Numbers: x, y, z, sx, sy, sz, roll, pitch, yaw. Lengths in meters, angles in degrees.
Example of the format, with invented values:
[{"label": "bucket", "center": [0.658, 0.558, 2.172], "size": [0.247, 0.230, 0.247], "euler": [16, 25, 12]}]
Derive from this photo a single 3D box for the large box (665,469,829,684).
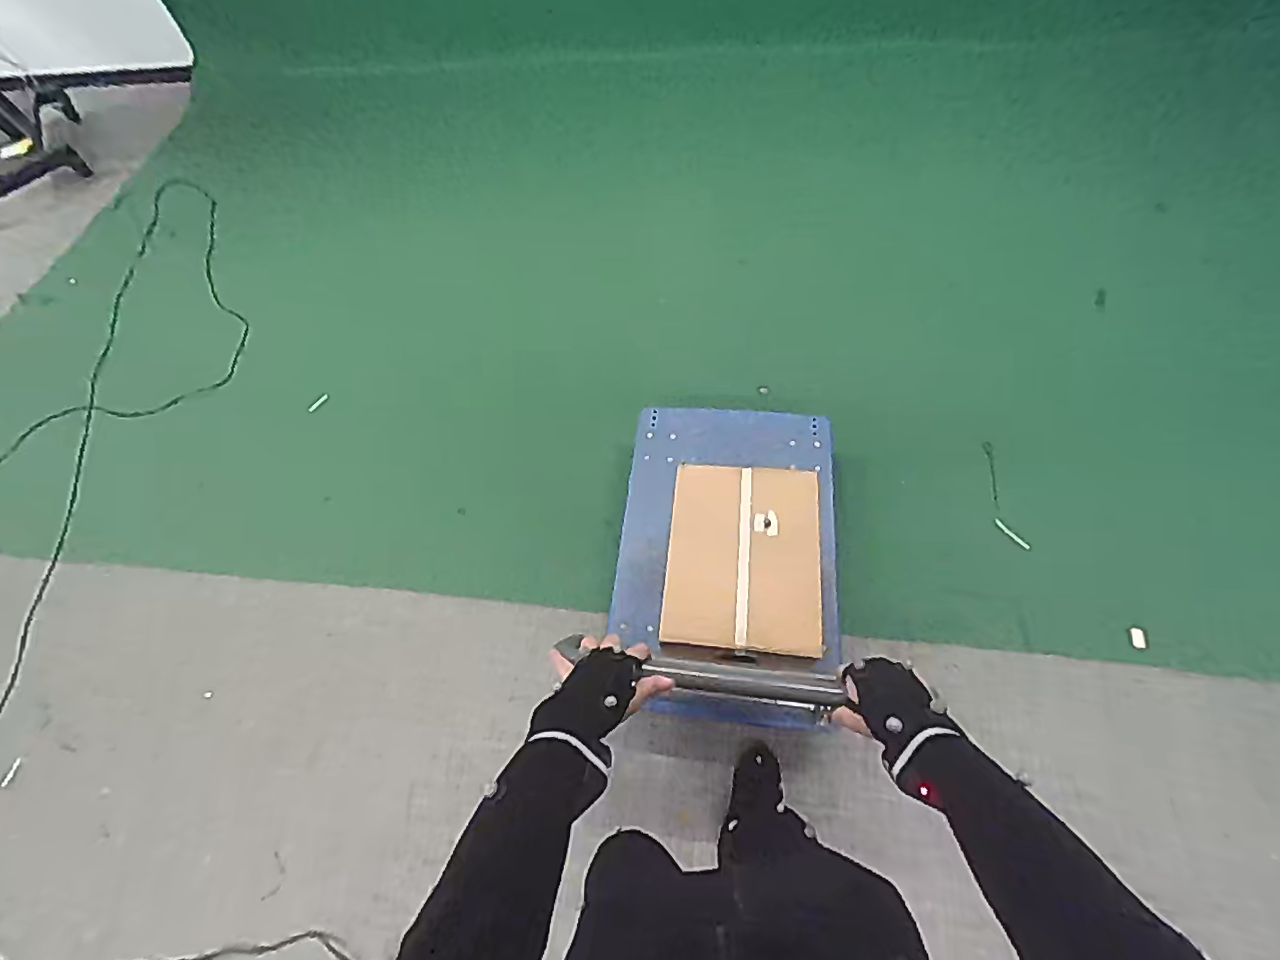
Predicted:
[{"label": "large box", "center": [0.236, 0.228, 1.247], "size": [0.320, 0.320, 0.408], "euler": [4, 61, 8]}]
